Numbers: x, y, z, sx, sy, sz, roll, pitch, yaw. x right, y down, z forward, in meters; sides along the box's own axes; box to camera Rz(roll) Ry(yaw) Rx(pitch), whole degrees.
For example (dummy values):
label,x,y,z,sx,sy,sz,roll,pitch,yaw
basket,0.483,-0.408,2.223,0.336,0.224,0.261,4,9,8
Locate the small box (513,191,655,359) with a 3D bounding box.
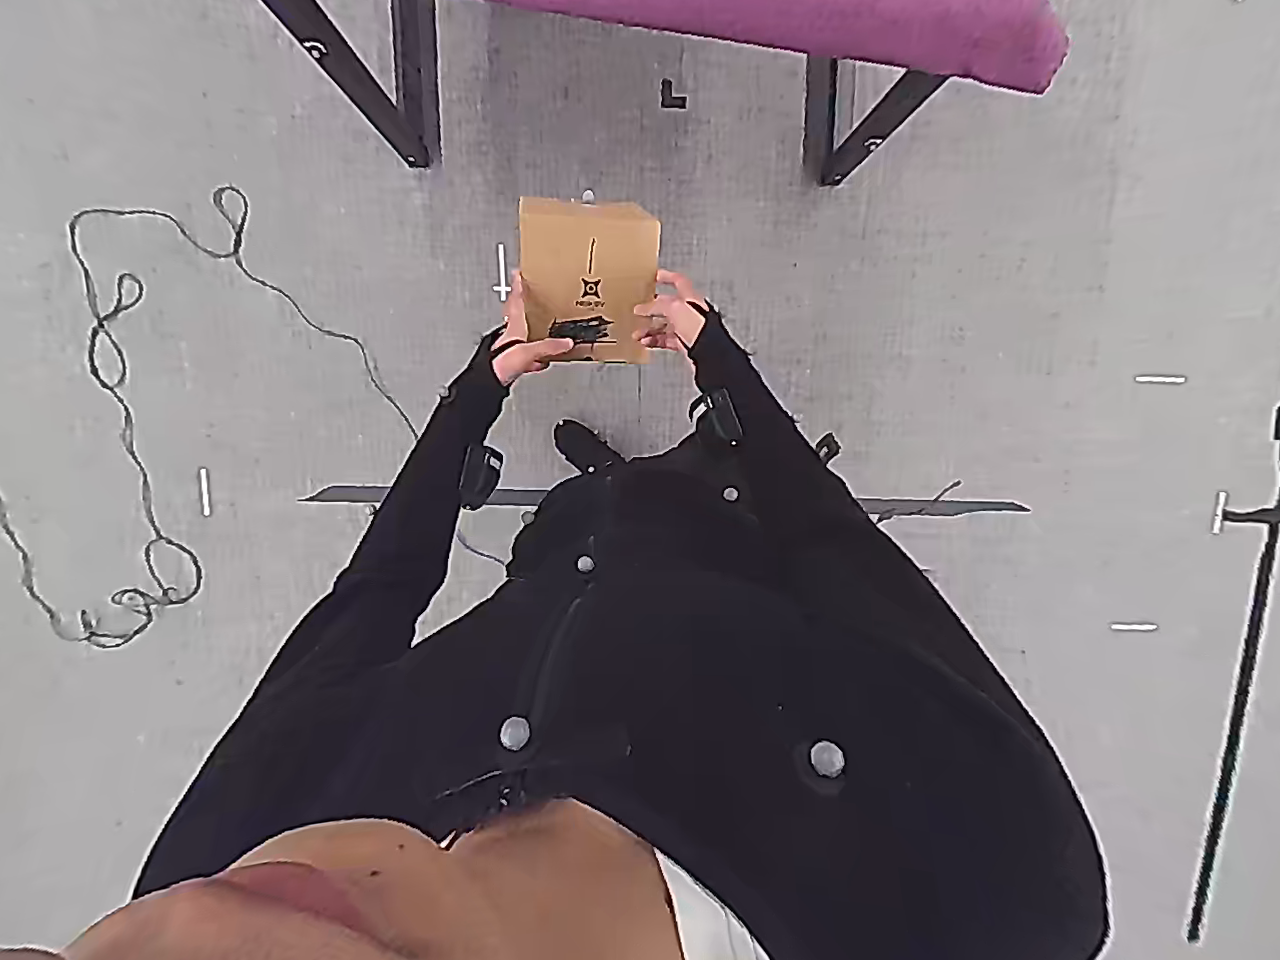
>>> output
label,x,y,z,sx,sy,sz,roll,pitch,yaw
small box,-0.082,-0.278,0.731,0.168,0.176,0.179,-1,123,-11
